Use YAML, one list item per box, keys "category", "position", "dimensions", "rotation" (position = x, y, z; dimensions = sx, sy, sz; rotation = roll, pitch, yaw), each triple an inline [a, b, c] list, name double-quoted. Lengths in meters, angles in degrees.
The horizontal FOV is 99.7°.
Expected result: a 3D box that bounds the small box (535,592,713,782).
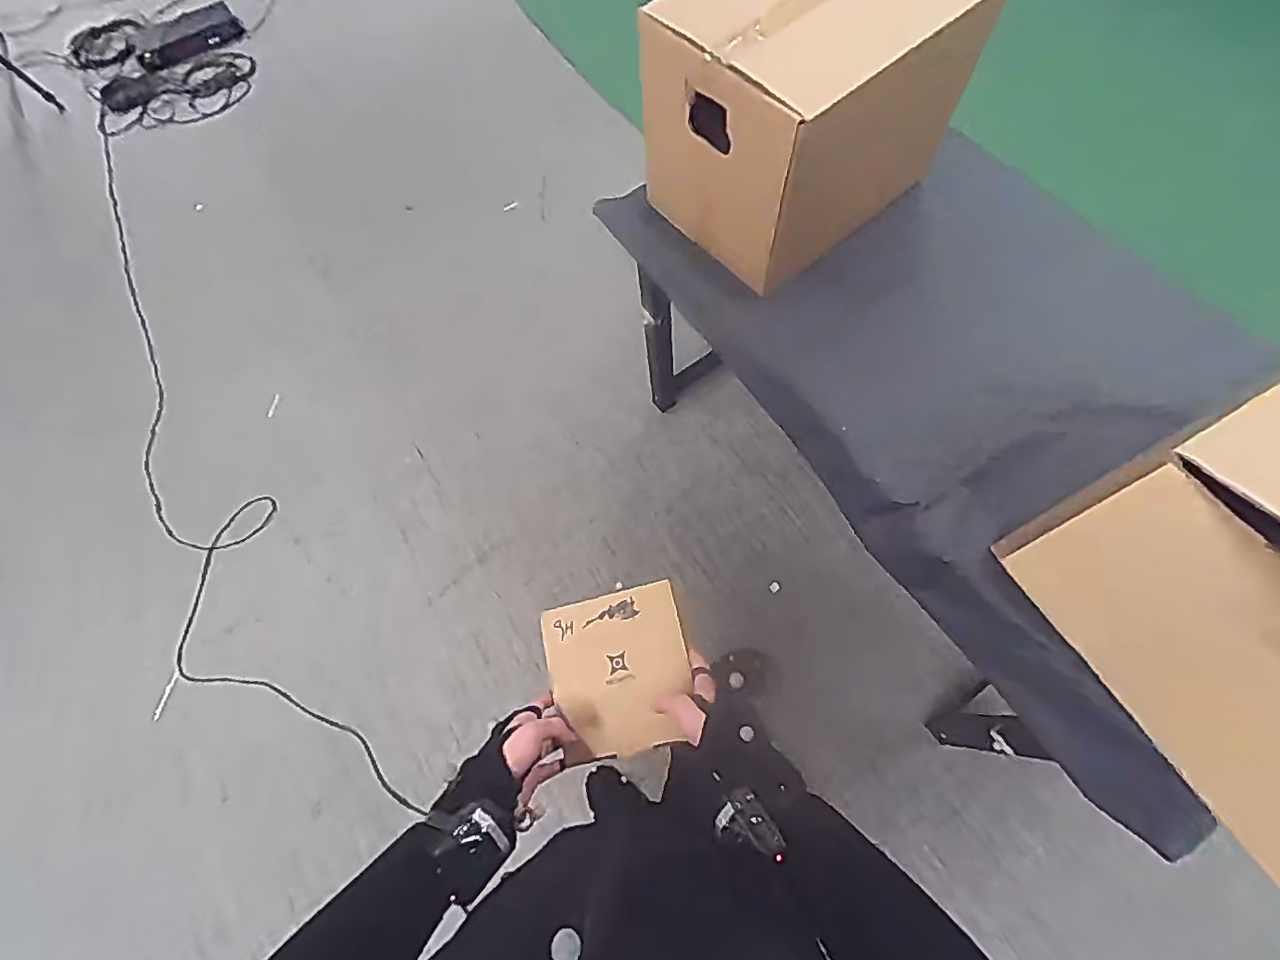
- category: "small box"
  position: [-0.011, 0.244, 0.675]
  dimensions: [0.168, 0.176, 0.179]
  rotation: [-16, 75, 7]
